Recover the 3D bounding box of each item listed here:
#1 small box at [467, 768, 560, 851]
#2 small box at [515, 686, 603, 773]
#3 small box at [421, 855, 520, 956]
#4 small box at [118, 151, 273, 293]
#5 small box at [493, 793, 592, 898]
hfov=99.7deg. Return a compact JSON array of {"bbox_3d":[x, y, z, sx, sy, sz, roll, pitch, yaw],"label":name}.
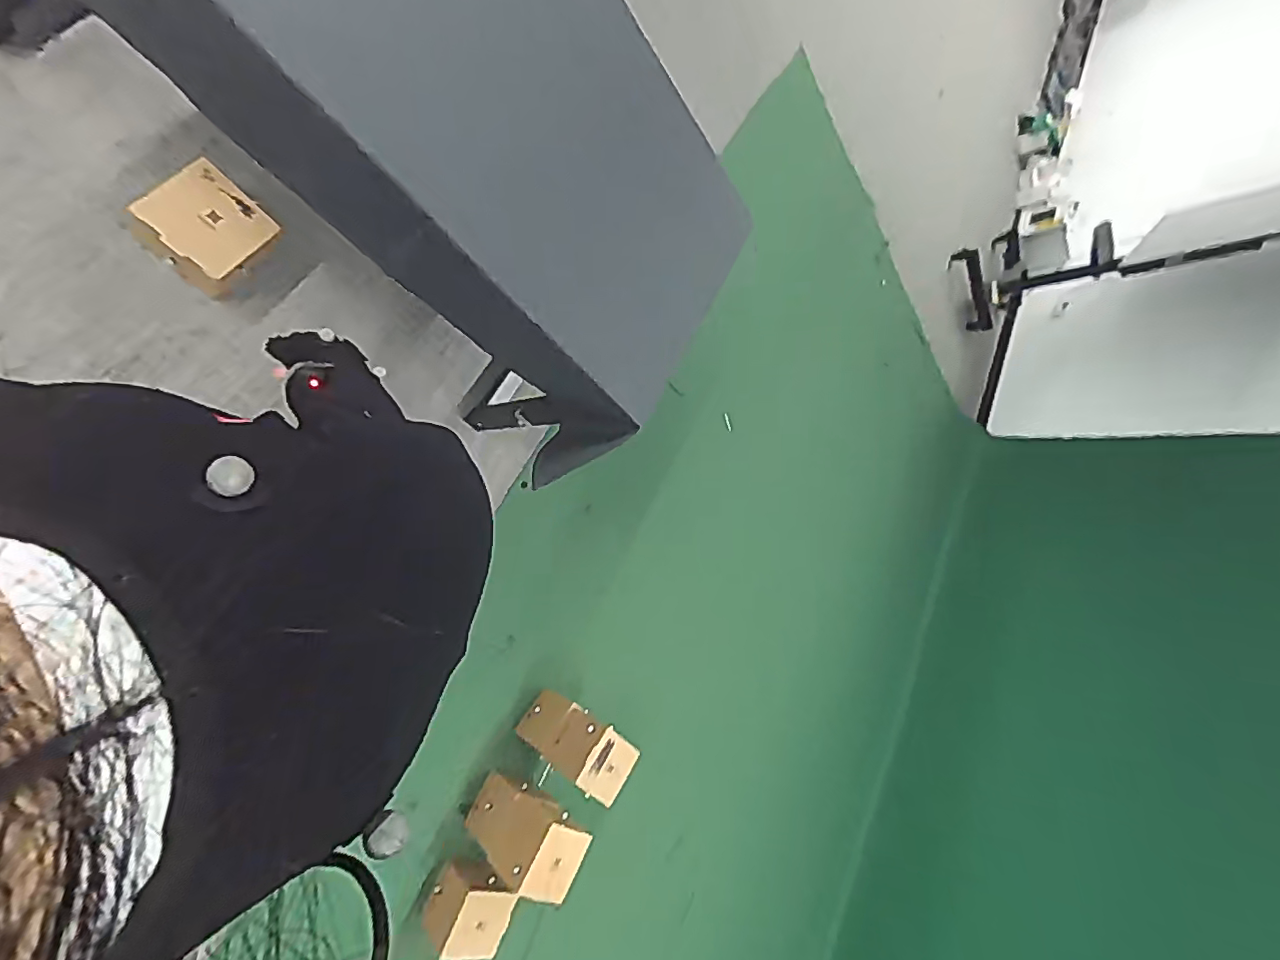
[{"bbox_3d":[-0.380,0.984,1.608,0.179,0.176,0.168,41,66,-36],"label":"small box"},{"bbox_3d":[-0.257,0.781,1.710,0.168,0.176,0.179,-53,122,-27],"label":"small box"},{"bbox_3d":[-0.480,1.196,1.529,0.179,0.176,0.168,37,68,-36],"label":"small box"},{"bbox_3d":[-0.888,-0.509,1.093,0.168,0.176,0.179,46,63,-32],"label":"small box"},{"bbox_3d":[-0.272,0.998,1.487,0.168,0.176,0.179,43,65,-34],"label":"small box"}]
